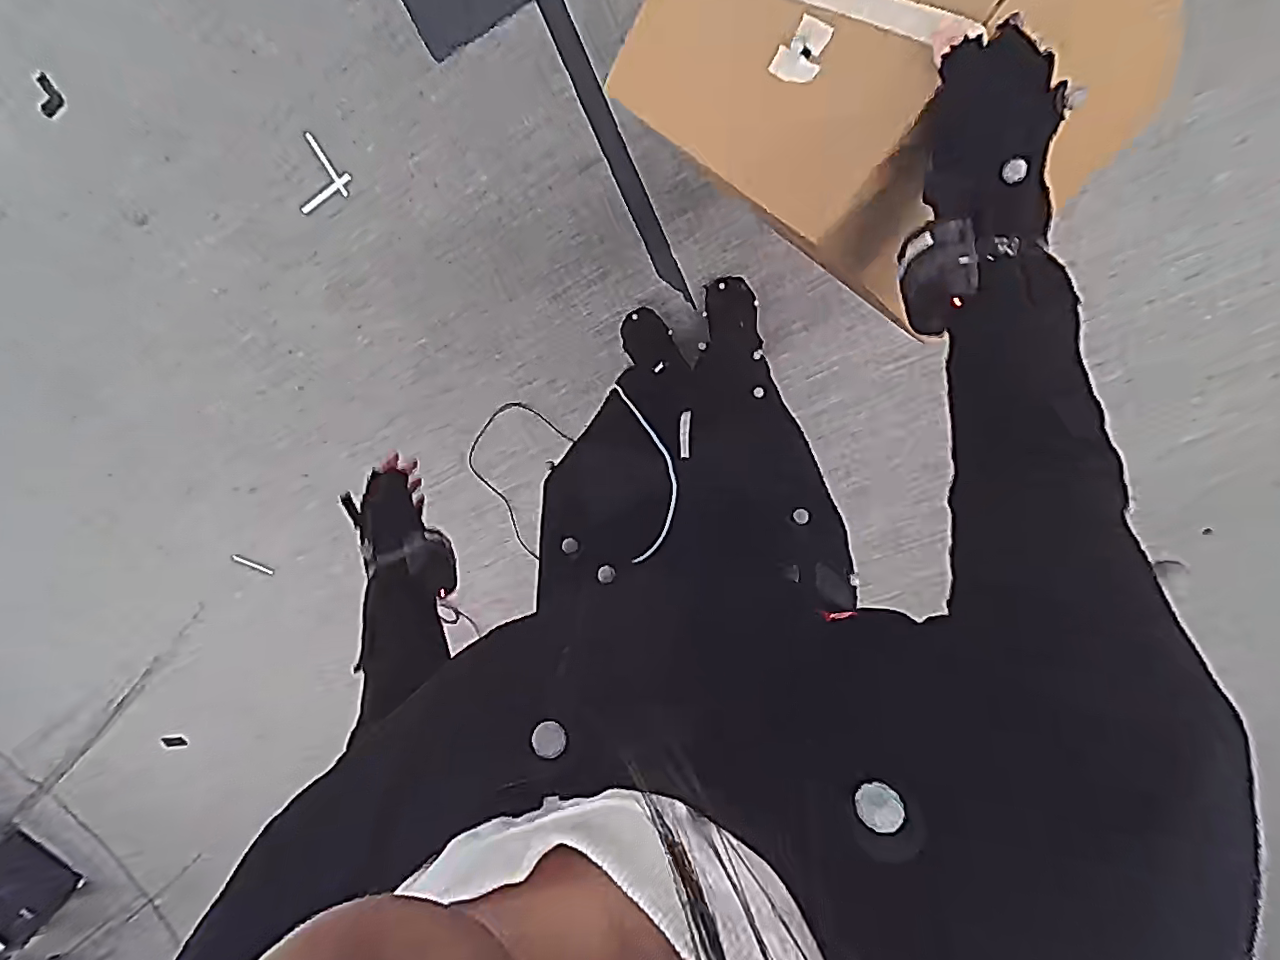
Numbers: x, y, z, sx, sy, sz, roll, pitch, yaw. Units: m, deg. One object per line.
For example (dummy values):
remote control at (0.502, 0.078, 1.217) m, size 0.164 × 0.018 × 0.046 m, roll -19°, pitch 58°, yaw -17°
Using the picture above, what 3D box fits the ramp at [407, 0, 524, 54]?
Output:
ramp at (-0.410, -1.328, 0.803) m, size 0.509 × 0.206 × 0.991 m, roll -22°, pitch 111°, yaw 16°
